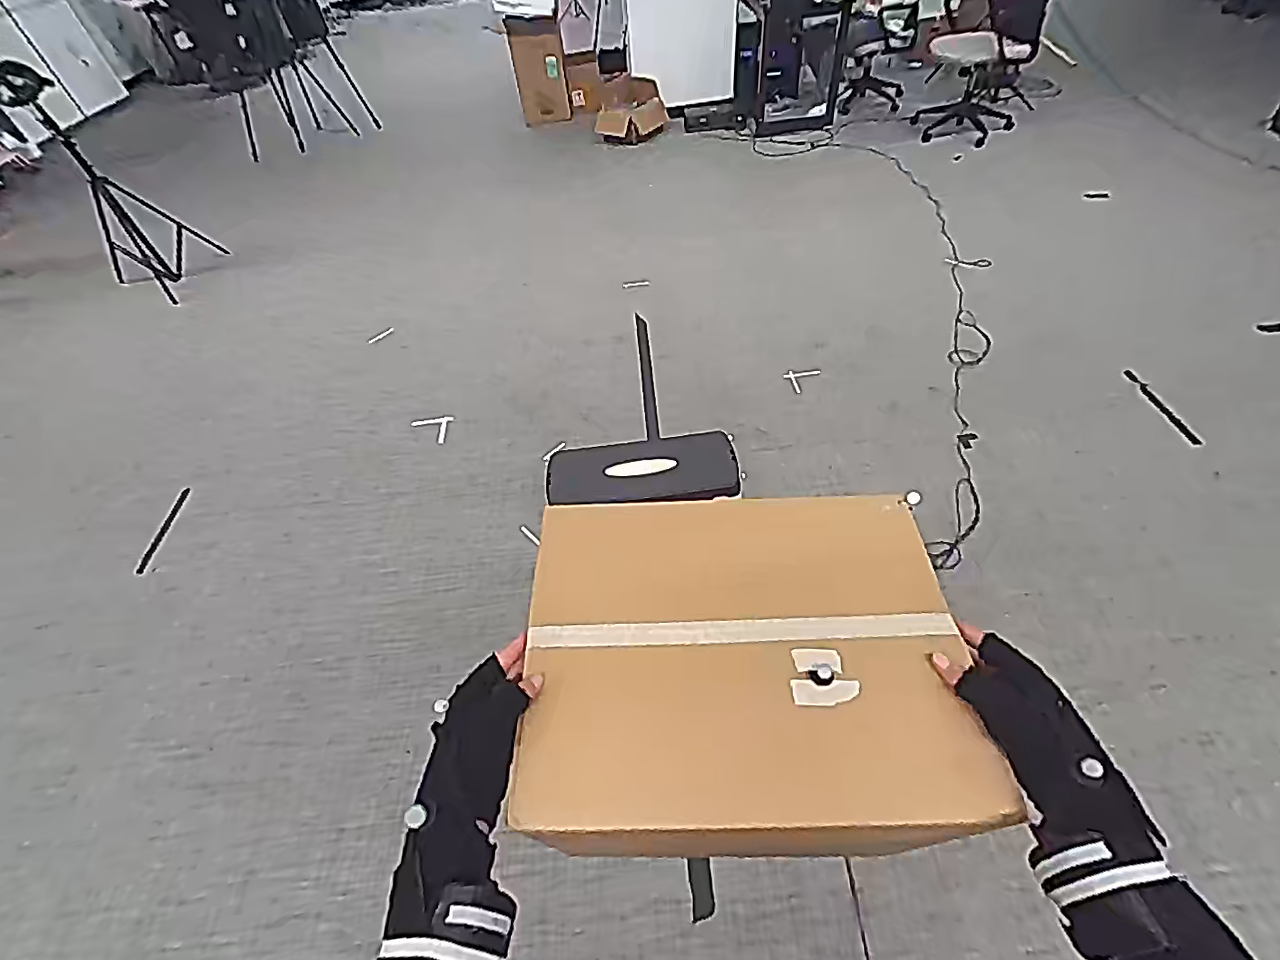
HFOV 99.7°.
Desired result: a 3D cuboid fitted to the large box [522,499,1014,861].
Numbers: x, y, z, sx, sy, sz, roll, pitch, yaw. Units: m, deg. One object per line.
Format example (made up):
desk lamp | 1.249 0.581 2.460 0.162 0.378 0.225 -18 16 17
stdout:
large box | 0.101 0.243 0.638 0.408 0.320 0.320 -2 52 1
